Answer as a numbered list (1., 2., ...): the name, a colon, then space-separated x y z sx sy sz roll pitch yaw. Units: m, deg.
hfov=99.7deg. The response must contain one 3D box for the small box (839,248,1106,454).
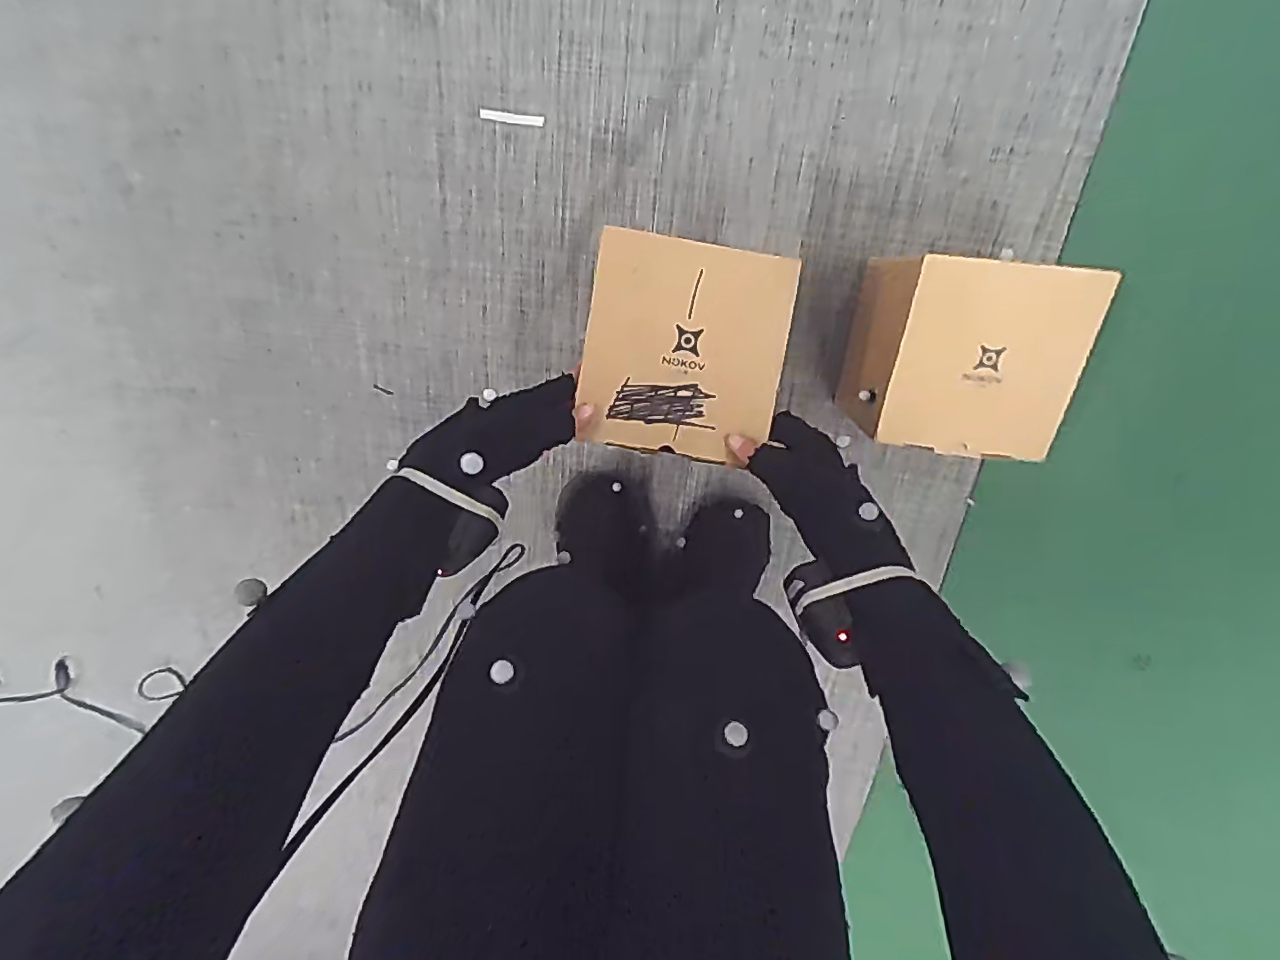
1. small box: 0.326 -0.143 0.578 0.168 0.176 0.179 7 112 4

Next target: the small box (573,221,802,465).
1. small box: 0.037 -0.119 0.526 0.168 0.176 0.179 10 95 -2
